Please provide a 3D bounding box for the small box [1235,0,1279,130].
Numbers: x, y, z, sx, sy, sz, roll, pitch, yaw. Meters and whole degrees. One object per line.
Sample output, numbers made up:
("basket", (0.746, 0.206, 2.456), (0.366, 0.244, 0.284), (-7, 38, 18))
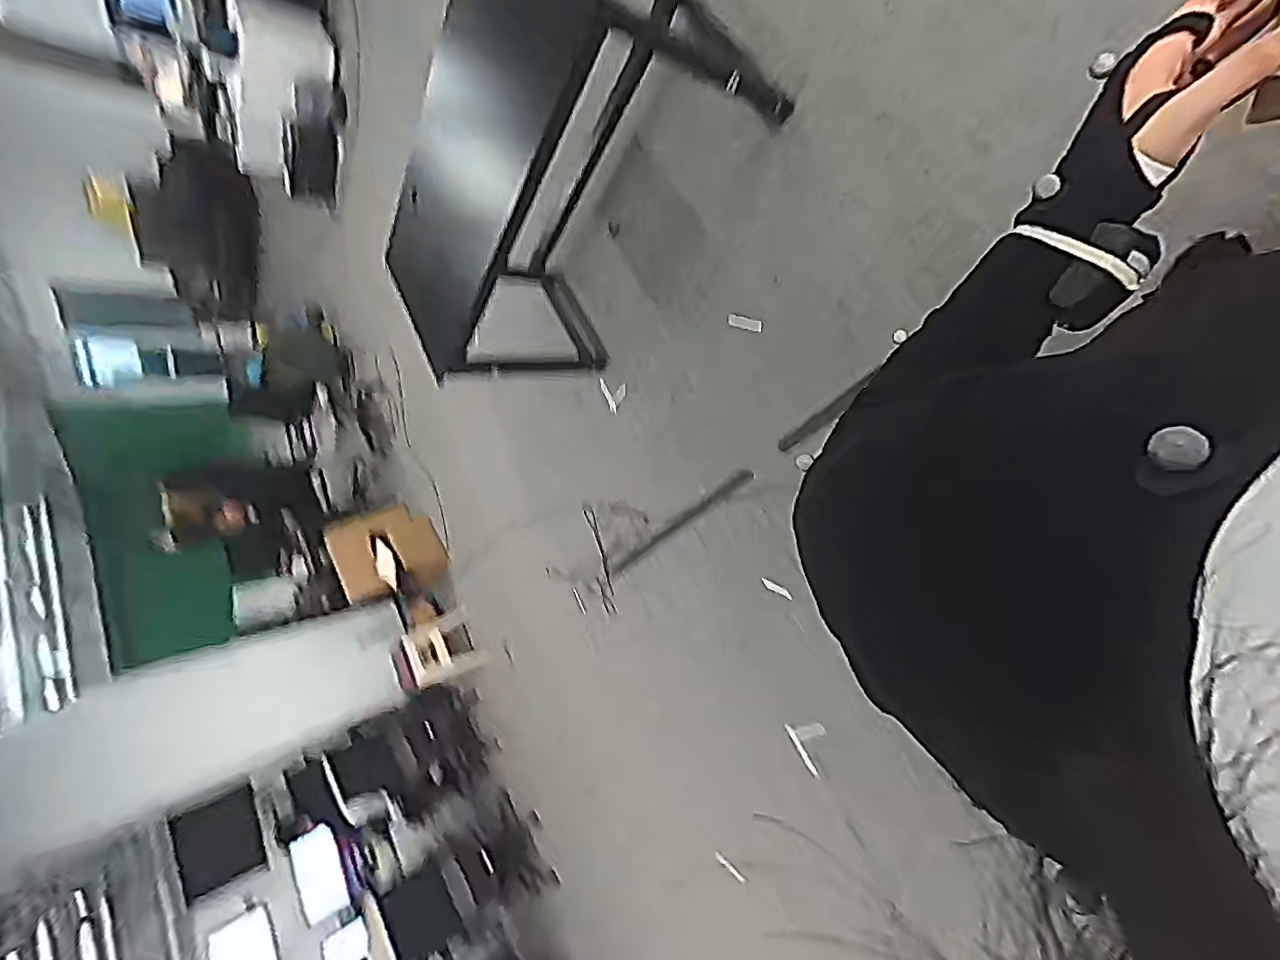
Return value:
("small box", (0.471, -0.317, 0.293), (0.179, 0.176, 0.168), (12, 113, 44))
